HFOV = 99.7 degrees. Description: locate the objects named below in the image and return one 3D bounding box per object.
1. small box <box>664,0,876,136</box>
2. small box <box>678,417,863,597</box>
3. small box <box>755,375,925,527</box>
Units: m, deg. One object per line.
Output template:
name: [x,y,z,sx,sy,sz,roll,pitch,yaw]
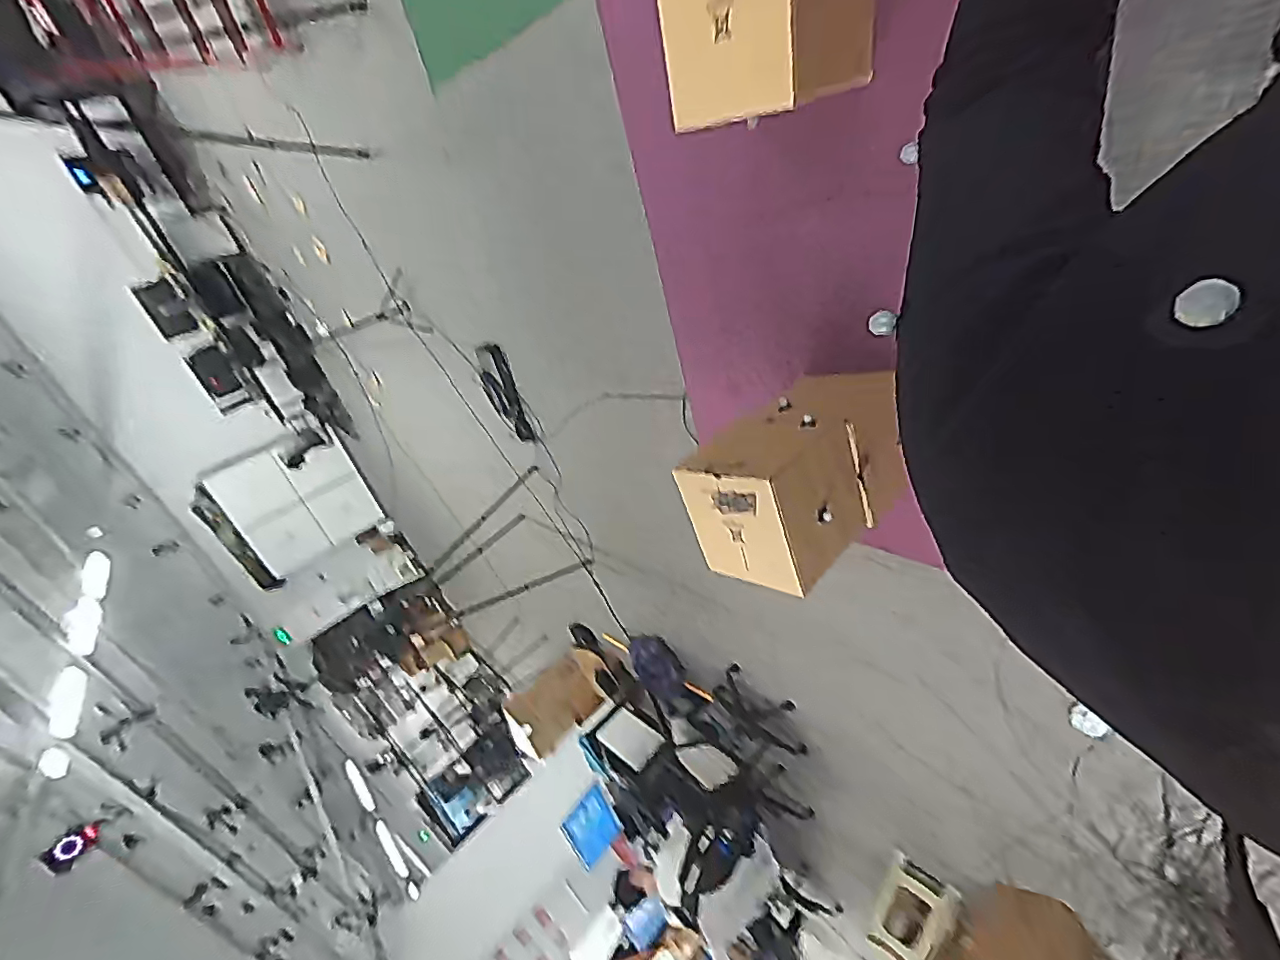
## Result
small box: [0.148,-0.511,0.603,0.168,0.176,0.179,22,136,42]
small box: [0.185,0.025,0.749,0.168,0.176,0.179,13,130,51]
small box: [0.307,-0.052,0.833,0.179,0.176,0.168,9,128,51]
